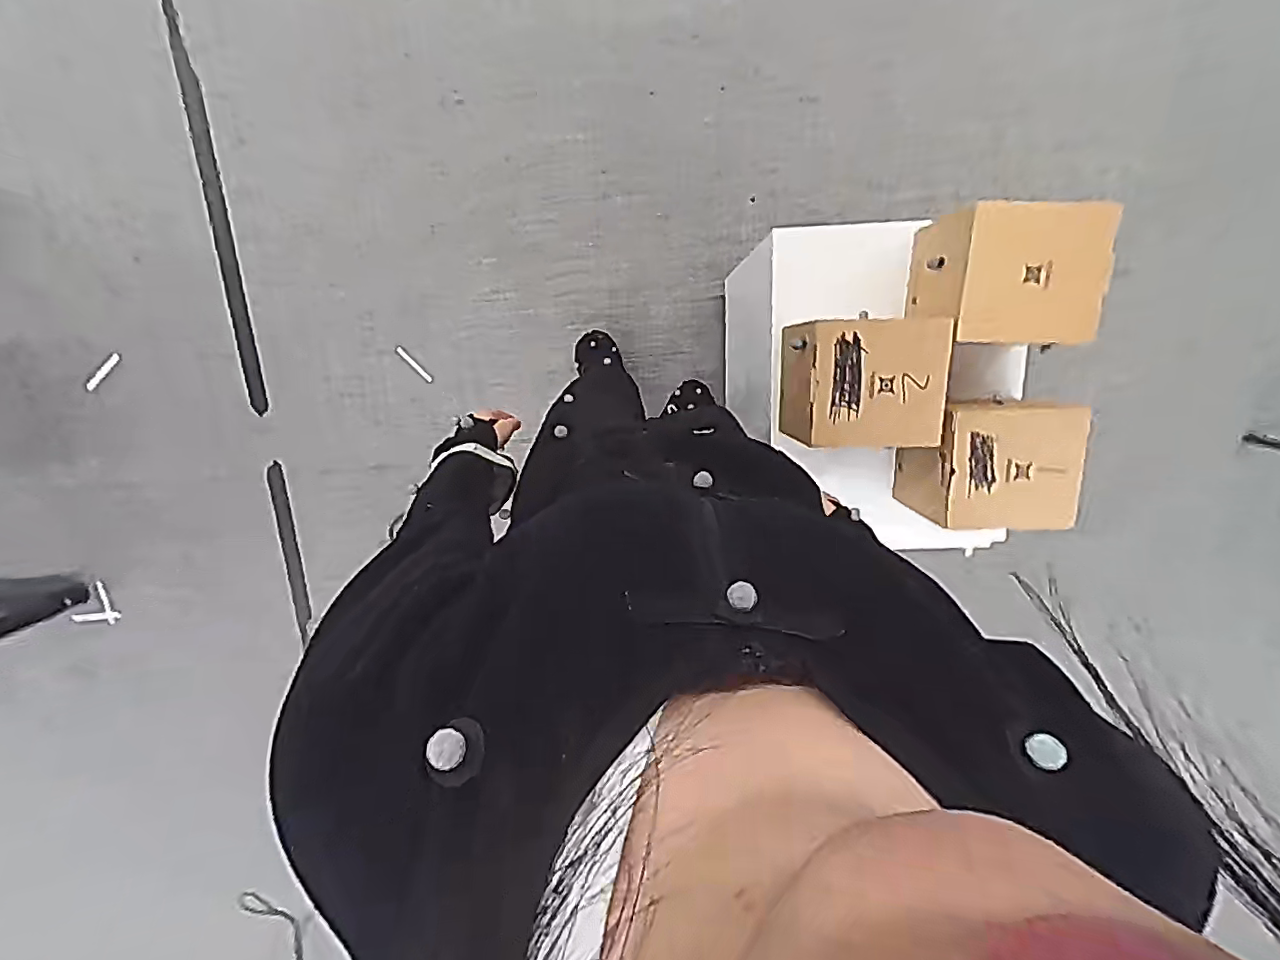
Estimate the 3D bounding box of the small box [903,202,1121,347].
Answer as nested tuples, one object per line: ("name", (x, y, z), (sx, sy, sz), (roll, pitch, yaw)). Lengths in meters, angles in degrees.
("small box", (0.489, -0.270, 0.743), (0.179, 0.176, 0.168), (1, 104, 1))
